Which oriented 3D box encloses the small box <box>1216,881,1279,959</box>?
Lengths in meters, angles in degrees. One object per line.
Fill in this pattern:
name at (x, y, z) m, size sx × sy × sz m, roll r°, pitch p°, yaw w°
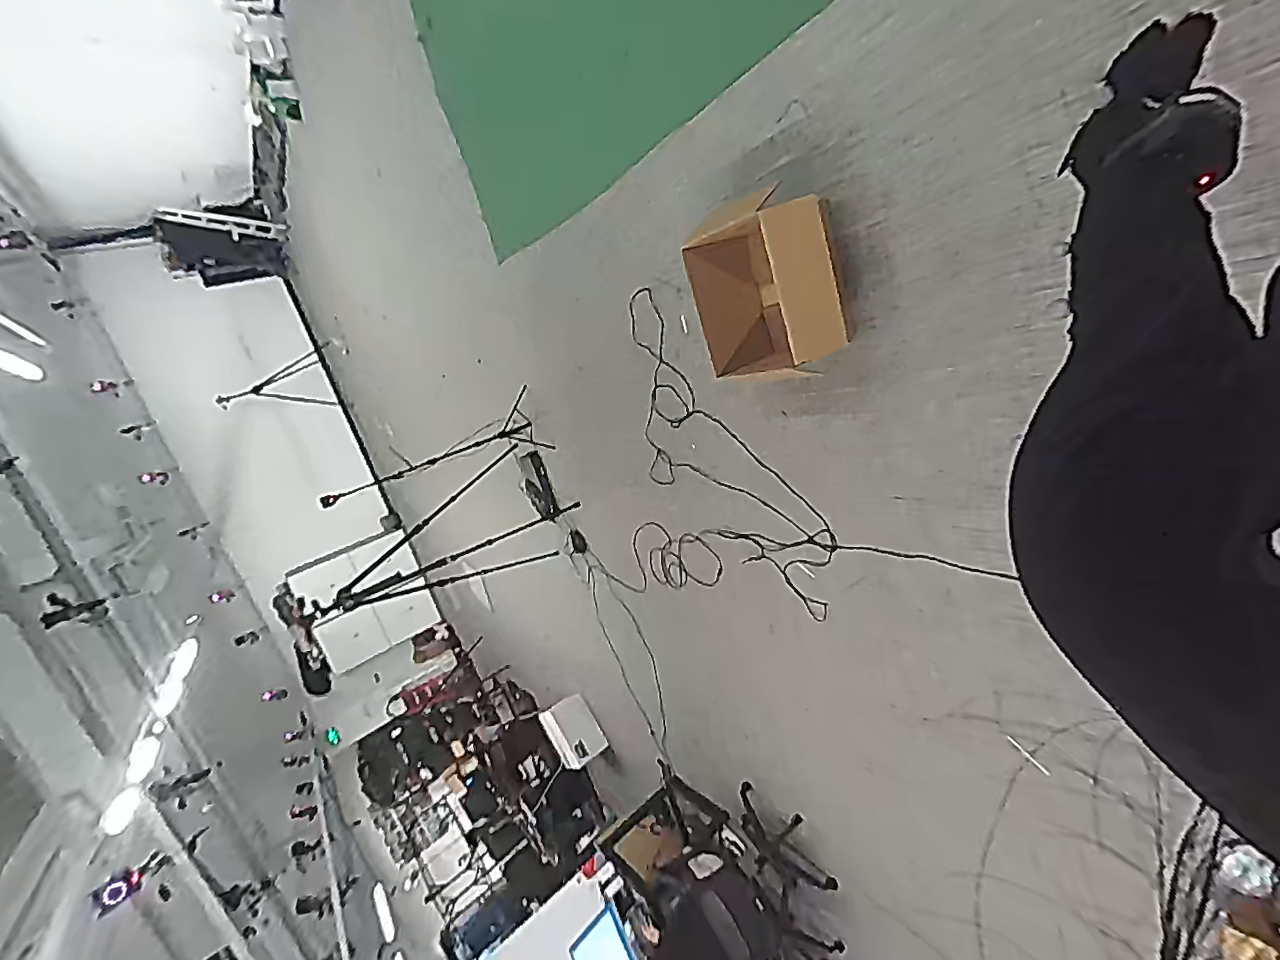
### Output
small box at (1.519, 1.110, 1.287) m, size 0.179 × 0.176 × 0.168 m, roll -1°, pitch 111°, yaw 54°
